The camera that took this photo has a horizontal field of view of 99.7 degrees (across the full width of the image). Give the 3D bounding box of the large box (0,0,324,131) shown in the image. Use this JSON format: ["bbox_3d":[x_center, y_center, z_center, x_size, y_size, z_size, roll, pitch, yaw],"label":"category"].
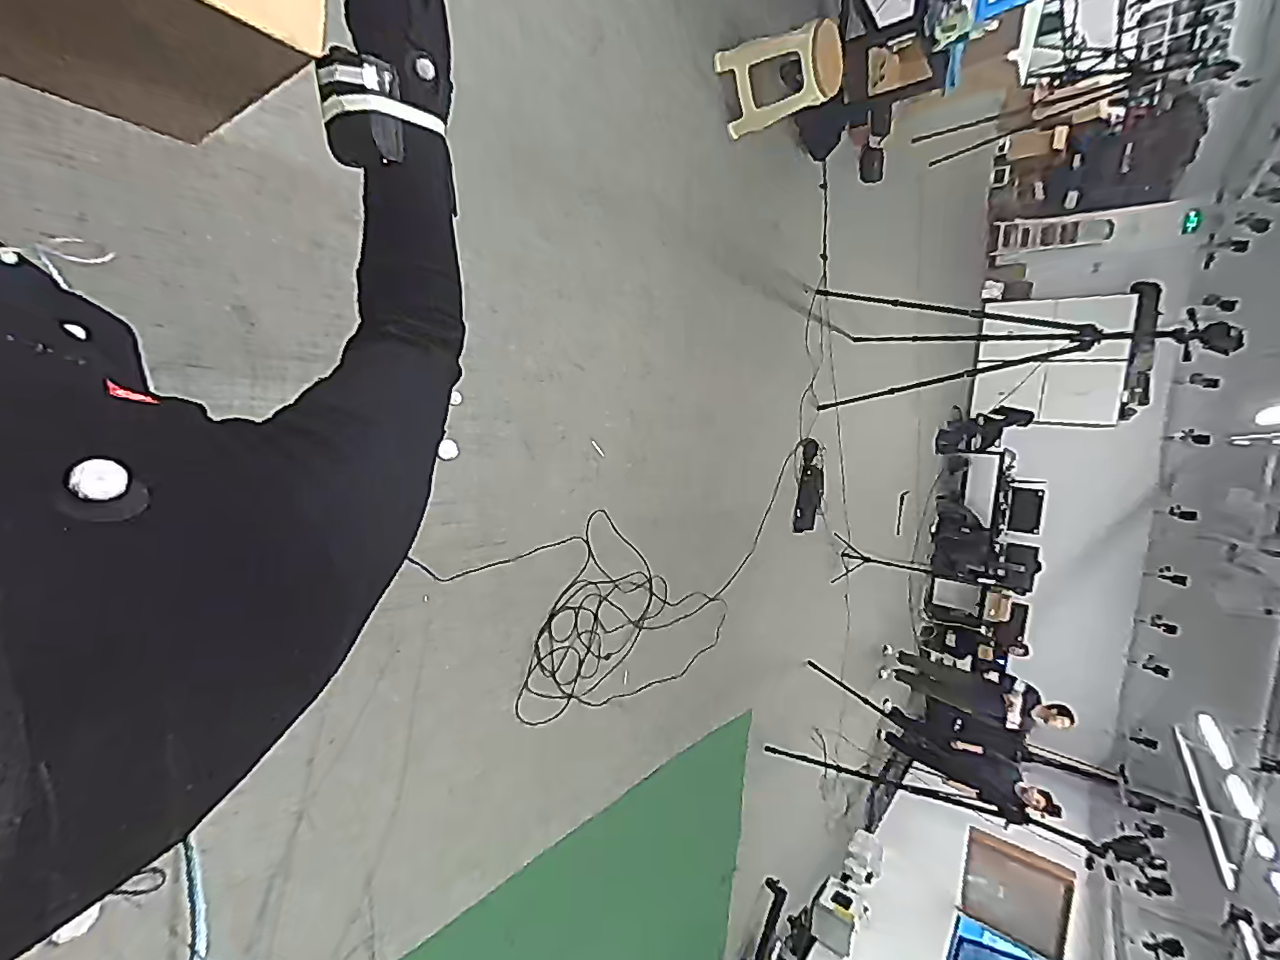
[{"bbox_3d":[-0.436,-0.456,0.276,0.408,0.320,0.320,-4,105,-50],"label":"large box"}]
